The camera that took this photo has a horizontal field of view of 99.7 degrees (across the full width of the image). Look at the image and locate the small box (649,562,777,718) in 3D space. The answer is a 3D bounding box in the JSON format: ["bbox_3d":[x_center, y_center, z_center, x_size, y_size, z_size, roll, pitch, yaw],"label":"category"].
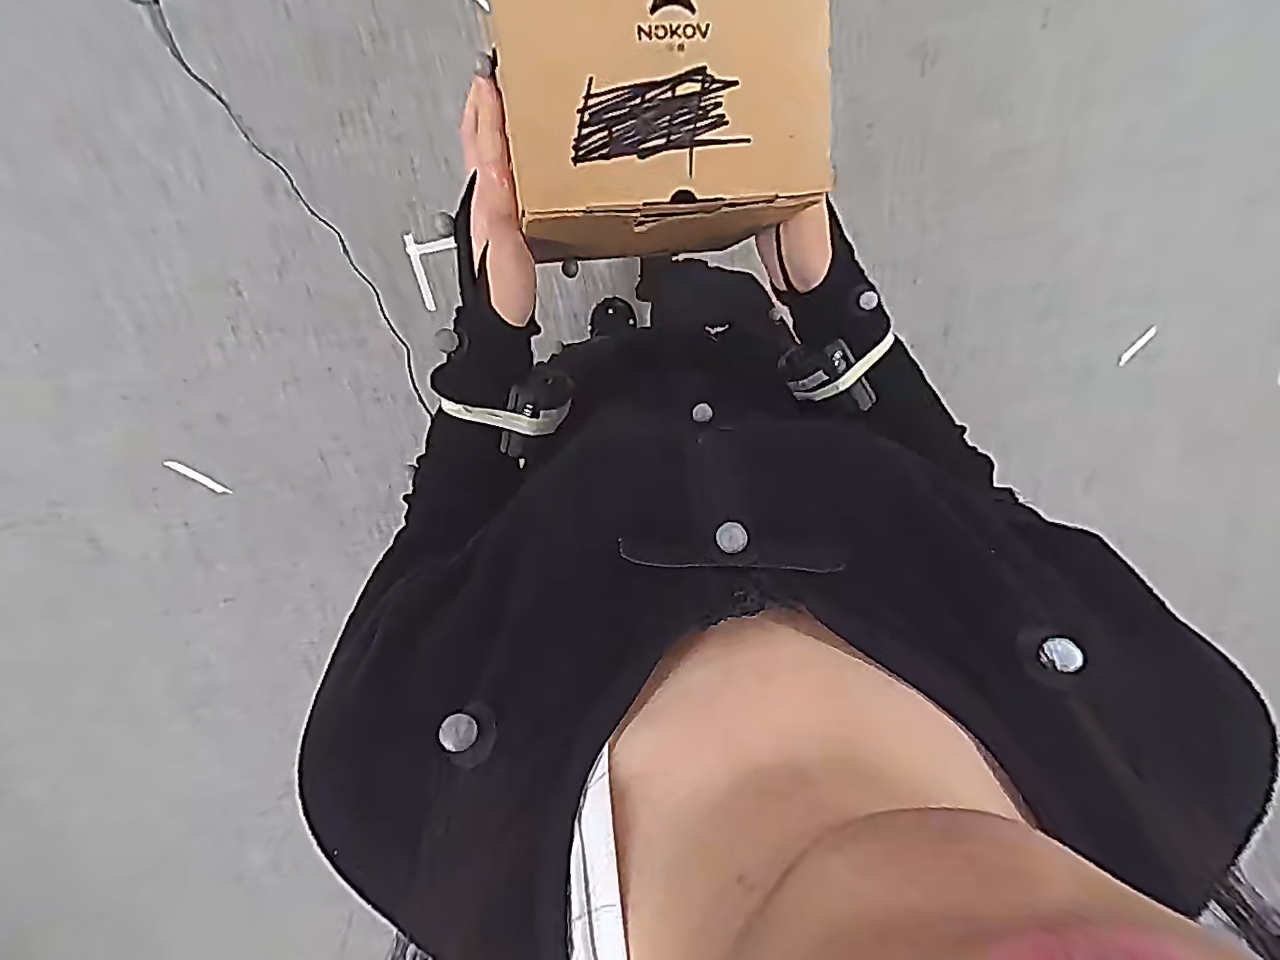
[{"bbox_3d":[0.110,0.248,0.864,0.179,0.176,0.168,-8,109,-4],"label":"small box"}]

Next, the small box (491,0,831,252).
[{"bbox_3d":[-0.001,-0.245,0.332,0.168,0.176,0.179,-8,104,-10],"label":"small box"}]
